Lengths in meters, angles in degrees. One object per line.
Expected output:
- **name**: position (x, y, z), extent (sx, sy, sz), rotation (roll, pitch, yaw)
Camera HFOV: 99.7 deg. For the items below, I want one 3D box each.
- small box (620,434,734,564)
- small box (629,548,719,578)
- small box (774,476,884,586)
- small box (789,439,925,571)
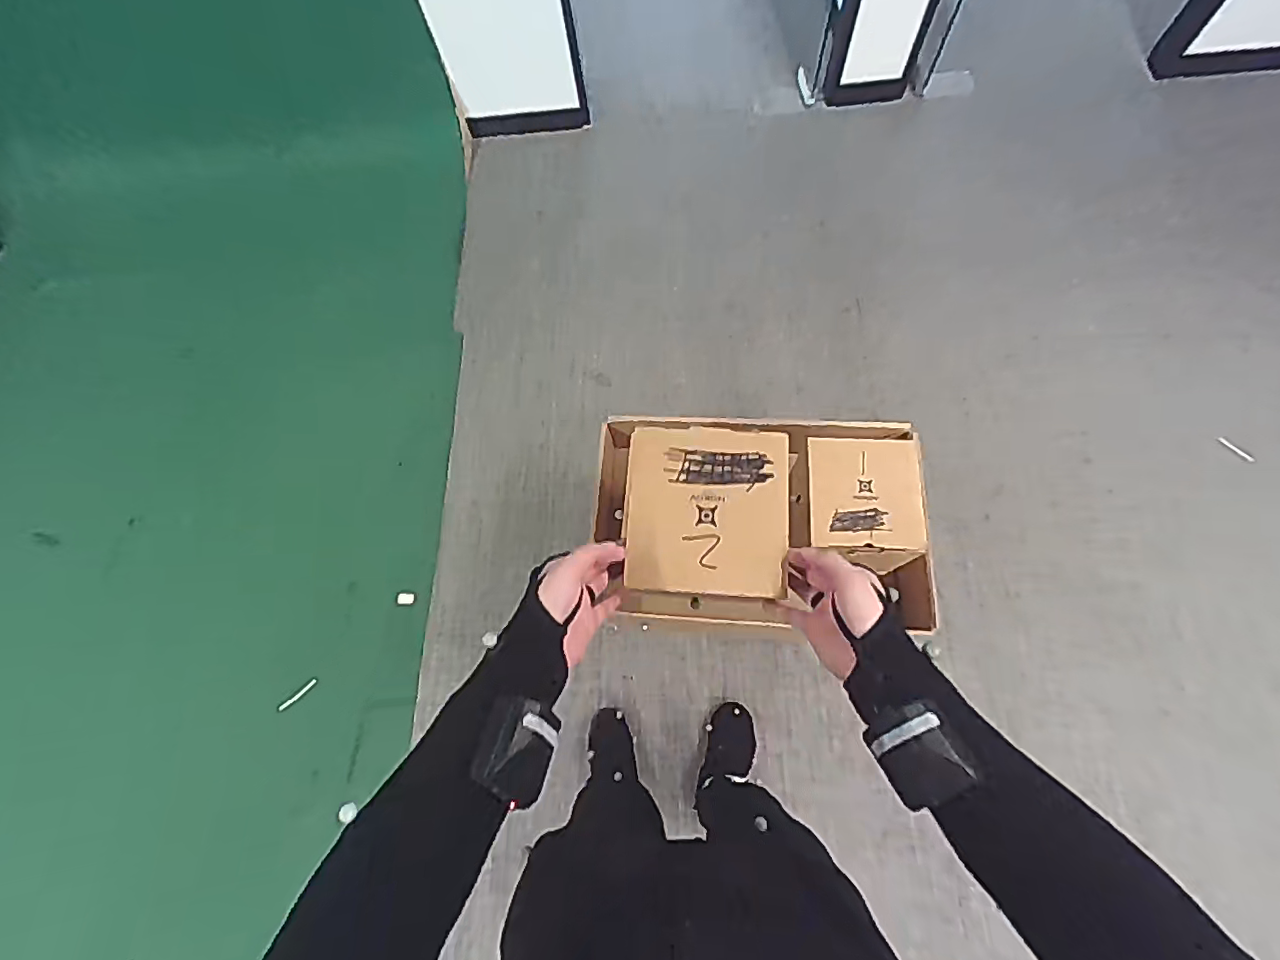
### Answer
- **small box**: position (0.066, 0.039, 0.906), extent (0.168, 0.176, 0.179), rotation (4, 71, 6)
- **small box**: position (0.077, 0.085, 1.063), extent (0.168, 0.176, 0.179), rotation (5, 71, 8)
- **small box**: position (0.354, 0.104, 1.034), extent (0.168, 0.176, 0.179), rotation (3, 71, 6)
- **small box**: position (0.341, 0.047, 0.880), extent (0.168, 0.176, 0.179), rotation (3, 70, 6)
